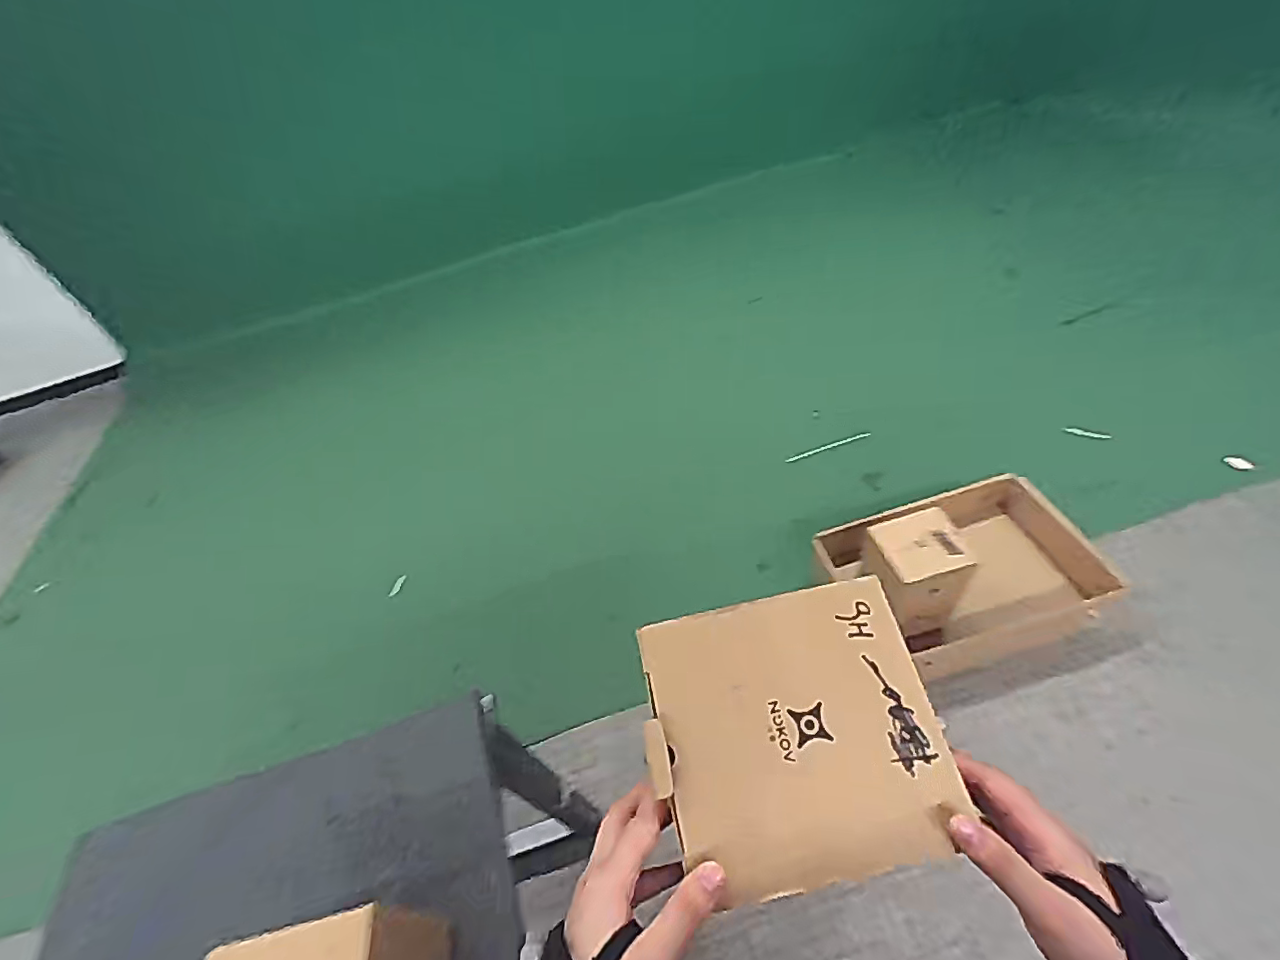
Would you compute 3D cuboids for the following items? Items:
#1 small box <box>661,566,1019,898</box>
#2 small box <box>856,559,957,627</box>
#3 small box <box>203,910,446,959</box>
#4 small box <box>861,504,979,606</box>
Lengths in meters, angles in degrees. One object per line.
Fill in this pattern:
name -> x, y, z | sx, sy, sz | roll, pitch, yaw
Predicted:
small box -> 0.119, 0.181, 0.404 | 0.179, 0.176, 0.168 | -11, 63, -1
small box -> 0.676, 0.293, 1.403 | 0.179, 0.176, 0.168 | -17, 48, -3
small box -> -0.295, 0.532, 0.502 | 0.168, 0.176, 0.179 | -16, 46, 0
small box -> 0.649, 0.189, 1.279 | 0.179, 0.176, 0.168 | -17, 47, -1
